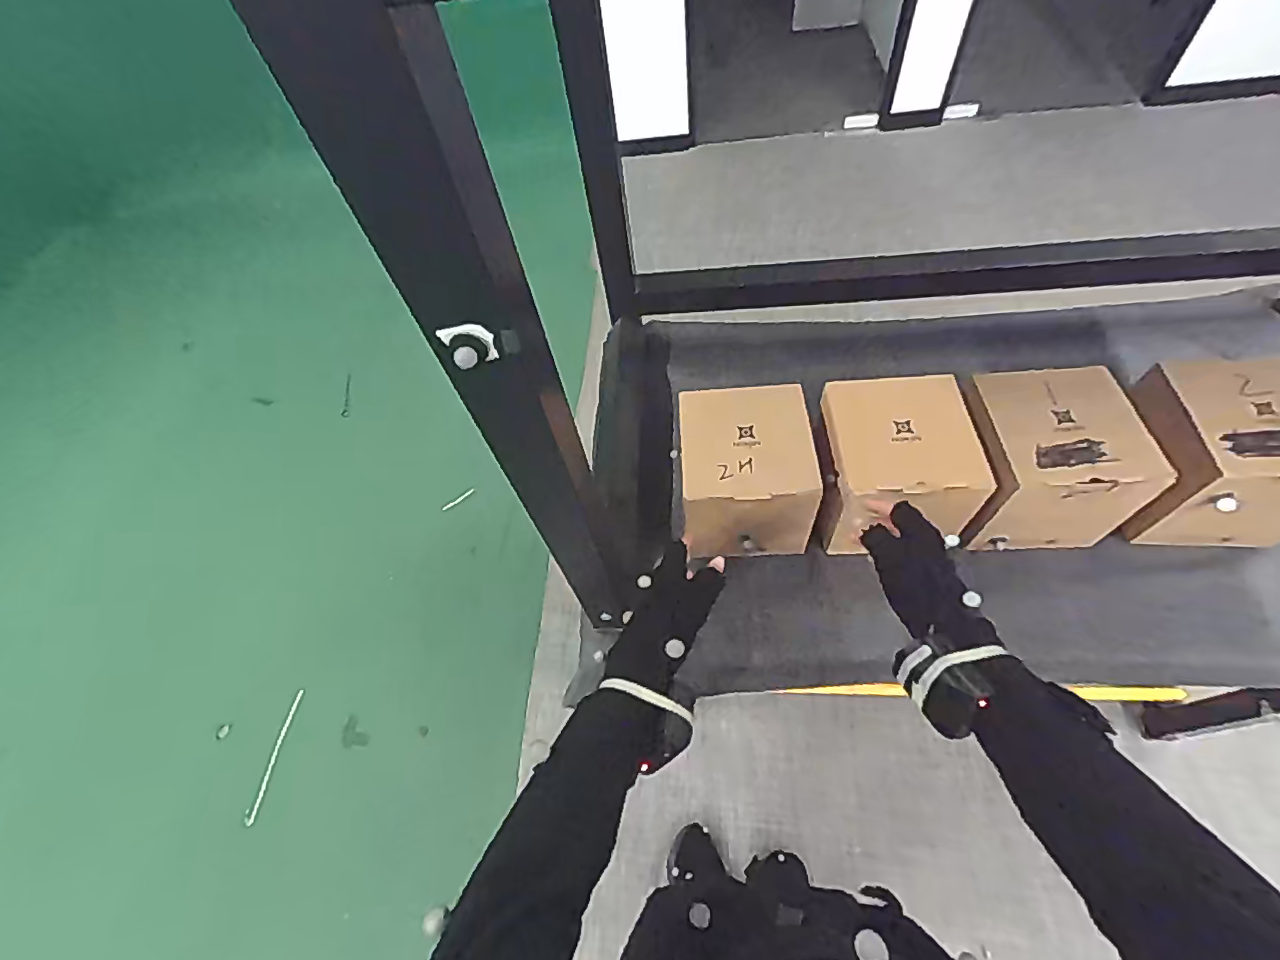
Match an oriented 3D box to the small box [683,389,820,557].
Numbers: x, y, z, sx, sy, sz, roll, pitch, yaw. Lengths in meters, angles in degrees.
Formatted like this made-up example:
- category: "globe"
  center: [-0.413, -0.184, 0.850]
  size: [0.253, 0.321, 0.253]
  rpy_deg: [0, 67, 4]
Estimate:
- category: "small box"
  center: [0.147, -0.006, 0.770]
  size: [0.168, 0.176, 0.179]
  rpy_deg: [-4, 56, 6]
